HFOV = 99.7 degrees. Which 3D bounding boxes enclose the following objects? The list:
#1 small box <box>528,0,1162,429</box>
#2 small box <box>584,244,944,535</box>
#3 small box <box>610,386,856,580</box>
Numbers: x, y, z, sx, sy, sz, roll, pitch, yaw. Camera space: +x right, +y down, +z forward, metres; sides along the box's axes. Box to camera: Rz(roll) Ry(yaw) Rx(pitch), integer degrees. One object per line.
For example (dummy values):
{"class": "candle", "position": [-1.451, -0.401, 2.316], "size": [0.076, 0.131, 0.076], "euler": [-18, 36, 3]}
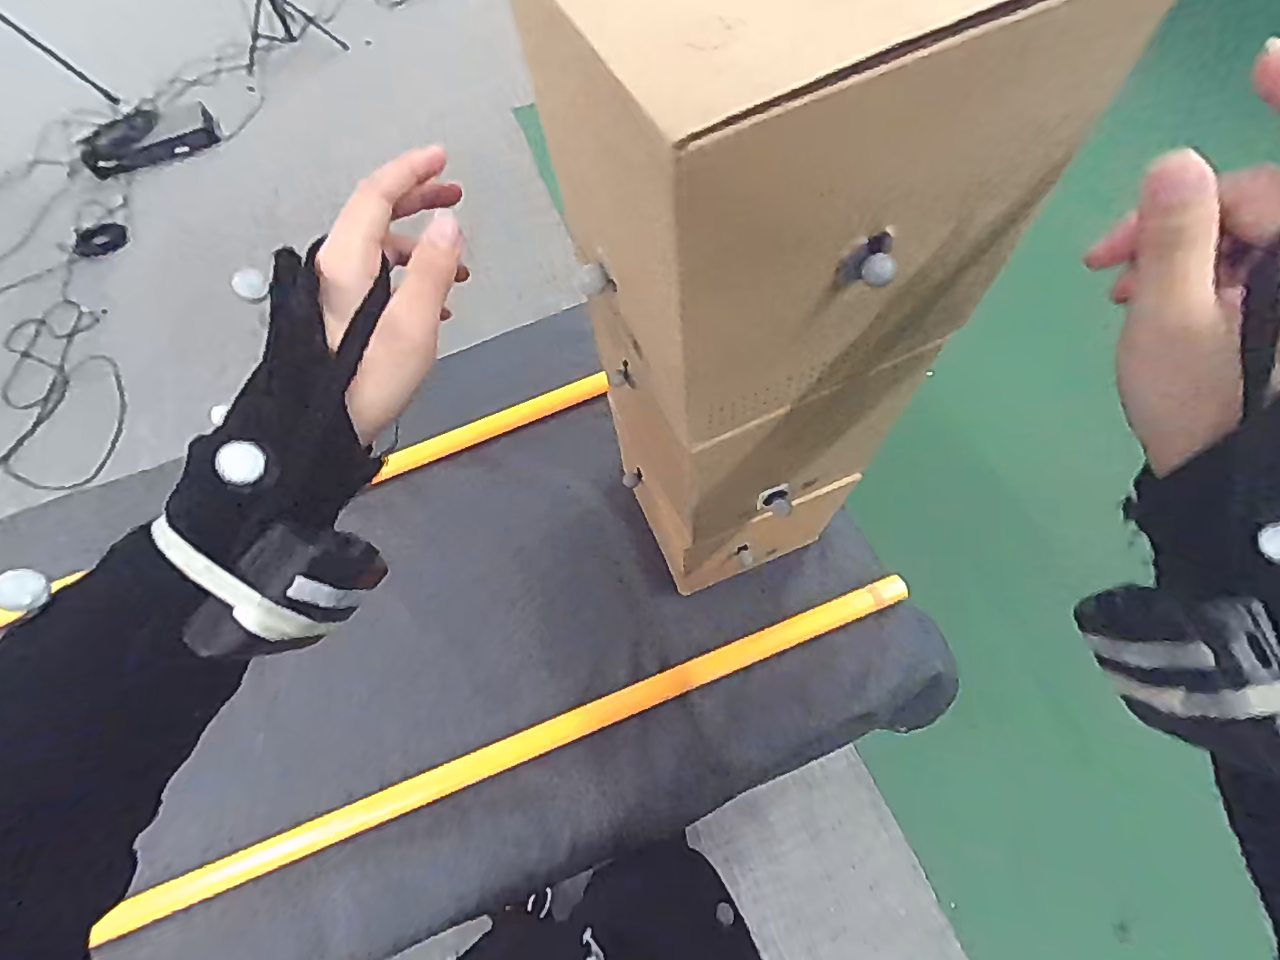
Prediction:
{"class": "small box", "position": [0.062, -0.155, 0.258], "size": [0.179, 0.176, 0.168], "euler": [-24, 64, -5]}
{"class": "small box", "position": [0.073, -0.086, 0.406], "size": [0.168, 0.176, 0.179], "euler": [-23, 65, -5]}
{"class": "small box", "position": [0.084, -0.012, 0.551], "size": [0.168, 0.176, 0.179], "euler": [-22, 64, -5]}
